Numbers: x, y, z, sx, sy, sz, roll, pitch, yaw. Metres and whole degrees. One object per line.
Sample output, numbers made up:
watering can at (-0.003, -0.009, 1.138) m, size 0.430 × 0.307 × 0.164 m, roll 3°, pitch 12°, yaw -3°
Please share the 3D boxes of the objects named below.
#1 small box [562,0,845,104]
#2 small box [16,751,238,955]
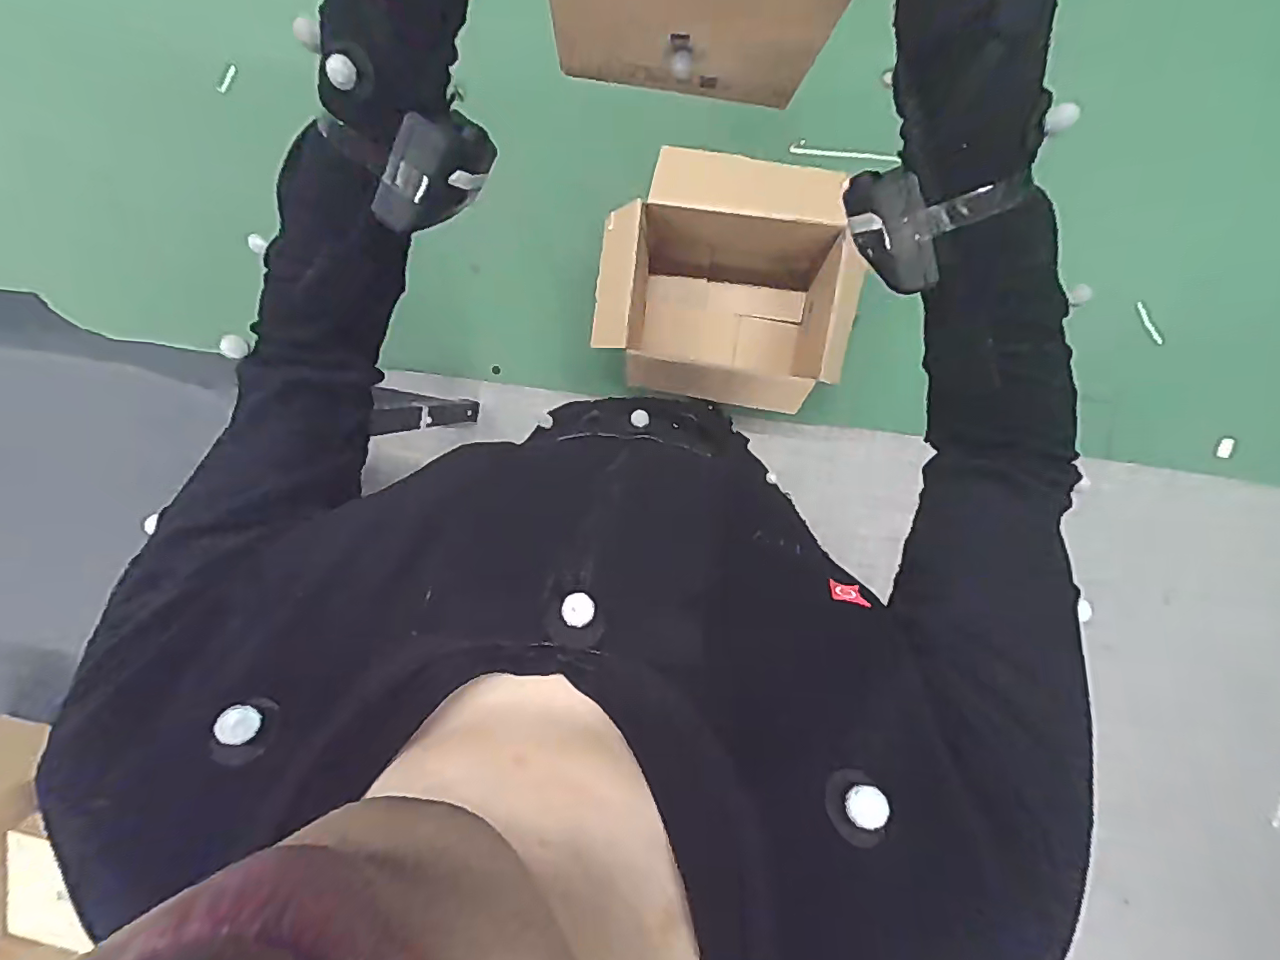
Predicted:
small box at (0.041, -0.355, 0.297) m, size 0.168 × 0.176 × 0.179 m, roll 6°, pitch 98°, yaw -3°
small box at (-0.756, 0.541, 0.809) m, size 0.179 × 0.176 × 0.168 m, roll 12°, pitch 100°, yaw 4°
